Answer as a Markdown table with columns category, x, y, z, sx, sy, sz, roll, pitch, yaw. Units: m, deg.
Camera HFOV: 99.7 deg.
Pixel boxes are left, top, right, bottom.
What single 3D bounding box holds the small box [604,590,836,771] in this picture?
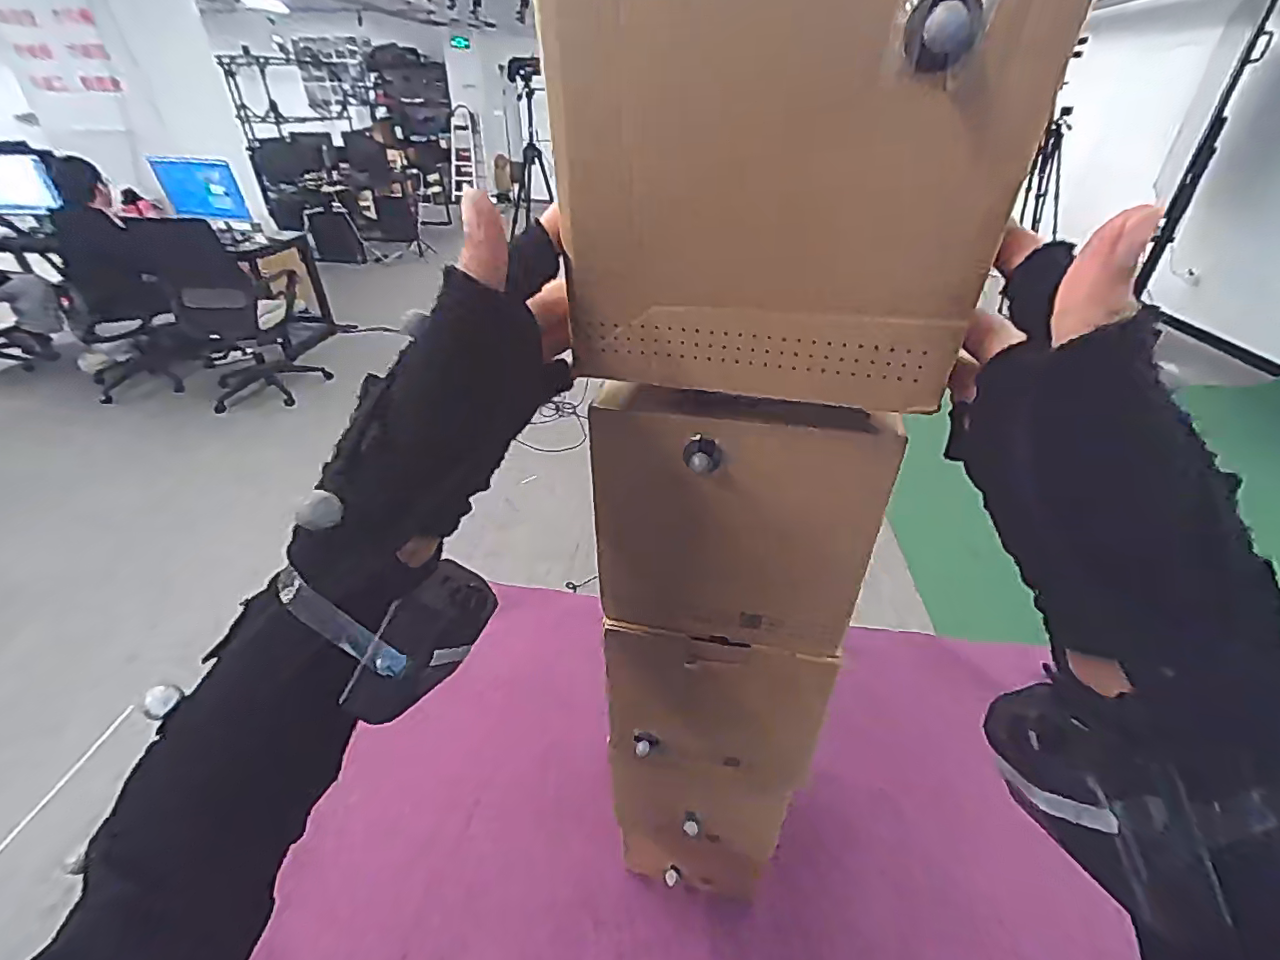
| category | x | y | z | sx | sy | sz | roll | pitch | yaw |
| --- | --- | --- | --- | --- | --- | --- | --- | --- | --- |
| small box | 0.071 | 0.127 | 0.488 | 0.168 | 0.176 | 0.179 | 6 | 34 | 9 |

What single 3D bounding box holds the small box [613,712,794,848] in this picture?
| category | x | y | z | sx | sy | sz | roll | pitch | yaw |
| --- | --- | --- | --- | --- | --- | --- | --- | --- | --- |
| small box | 0.069 | 0.257 | 0.589 | 0.168 | 0.176 | 0.179 | 5 | 35 | 9 |

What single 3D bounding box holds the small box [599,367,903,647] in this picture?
| category | x | y | z | sx | sy | sz | roll | pitch | yaw |
| --- | --- | --- | --- | --- | --- | --- | --- | --- | --- |
| small box | 0.072 | -0.010 | 0.399 | 0.168 | 0.176 | 0.179 | 7 | 35 | 10 |

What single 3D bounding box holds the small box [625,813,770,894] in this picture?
| category | x | y | z | sx | sy | sz | roll | pitch | yaw |
| --- | --- | --- | --- | --- | --- | --- | --- | --- | --- |
| small box | 0.076 | 0.383 | 0.694 | 0.168 | 0.176 | 0.179 | 7 | 36 | 10 |

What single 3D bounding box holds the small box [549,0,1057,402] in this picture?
| category | x | y | z | sx | sy | sz | roll | pitch | yaw |
| --- | --- | --- | --- | --- | --- | --- | --- | --- | --- |
| small box | 0.066 | -0.155 | 0.275 | 0.179 | 0.176 | 0.168 | 9 | 39 | 10 |
